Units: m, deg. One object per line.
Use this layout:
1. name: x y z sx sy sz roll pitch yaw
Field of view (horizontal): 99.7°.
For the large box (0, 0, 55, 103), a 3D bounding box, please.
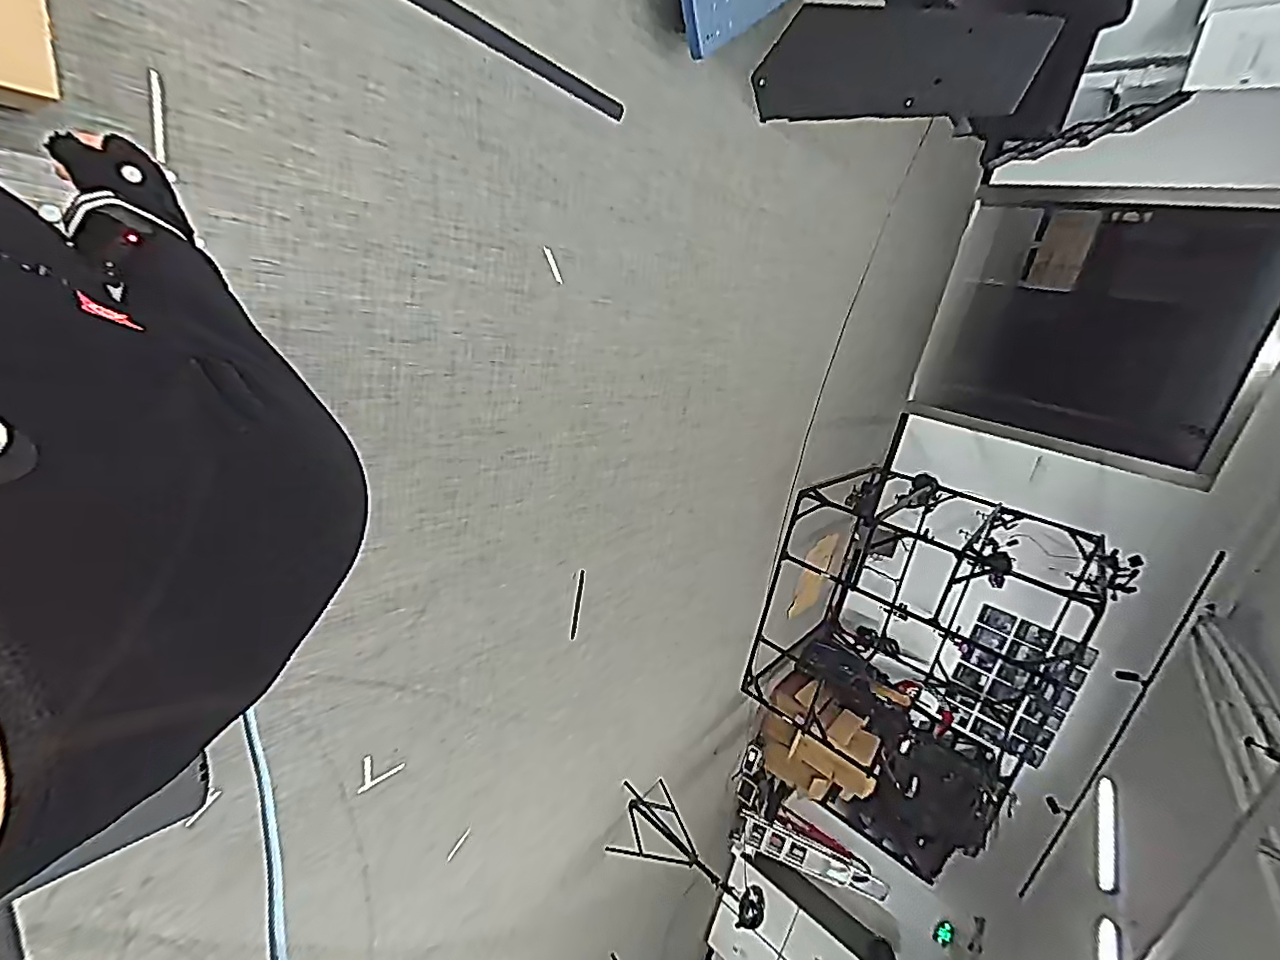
1. large box: -1.023 -0.689 0.627 0.408 0.320 0.320 -15 122 -50
